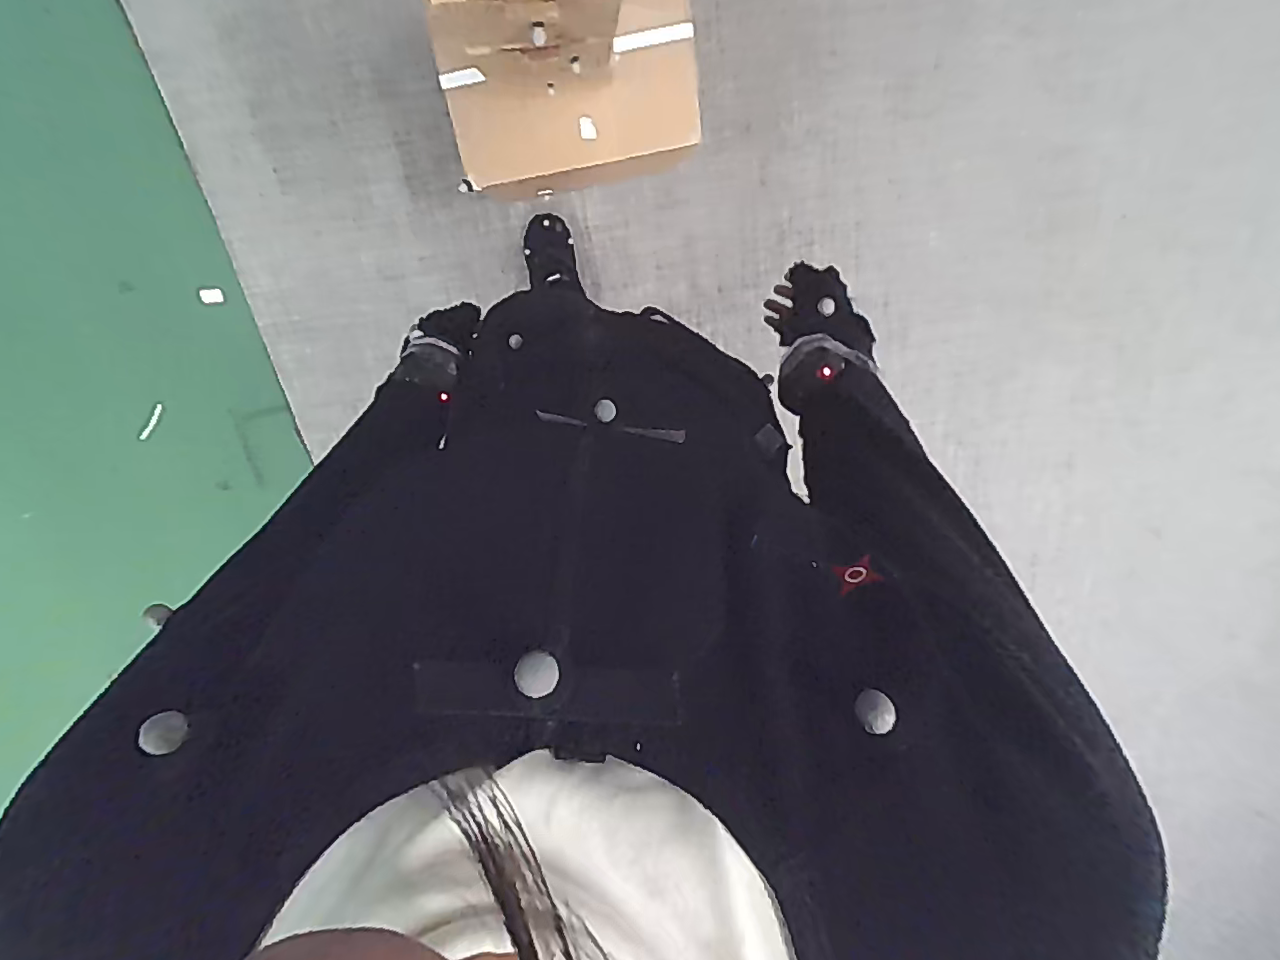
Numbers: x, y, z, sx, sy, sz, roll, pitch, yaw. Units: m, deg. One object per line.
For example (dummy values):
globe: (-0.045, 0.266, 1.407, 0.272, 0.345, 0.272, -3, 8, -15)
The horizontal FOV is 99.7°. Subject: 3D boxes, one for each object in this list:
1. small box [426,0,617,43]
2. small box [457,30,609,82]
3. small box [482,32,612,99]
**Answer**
small box: (-0.107, -0.509, 0.475, 0.168, 0.176, 0.179, -6, 119, -2)
small box: (-0.128, -0.580, 0.621, 0.168, 0.176, 0.179, -9, 117, -2)
small box: (-0.135, -0.653, 0.763, 0.179, 0.176, 0.168, -4, 117, -2)
